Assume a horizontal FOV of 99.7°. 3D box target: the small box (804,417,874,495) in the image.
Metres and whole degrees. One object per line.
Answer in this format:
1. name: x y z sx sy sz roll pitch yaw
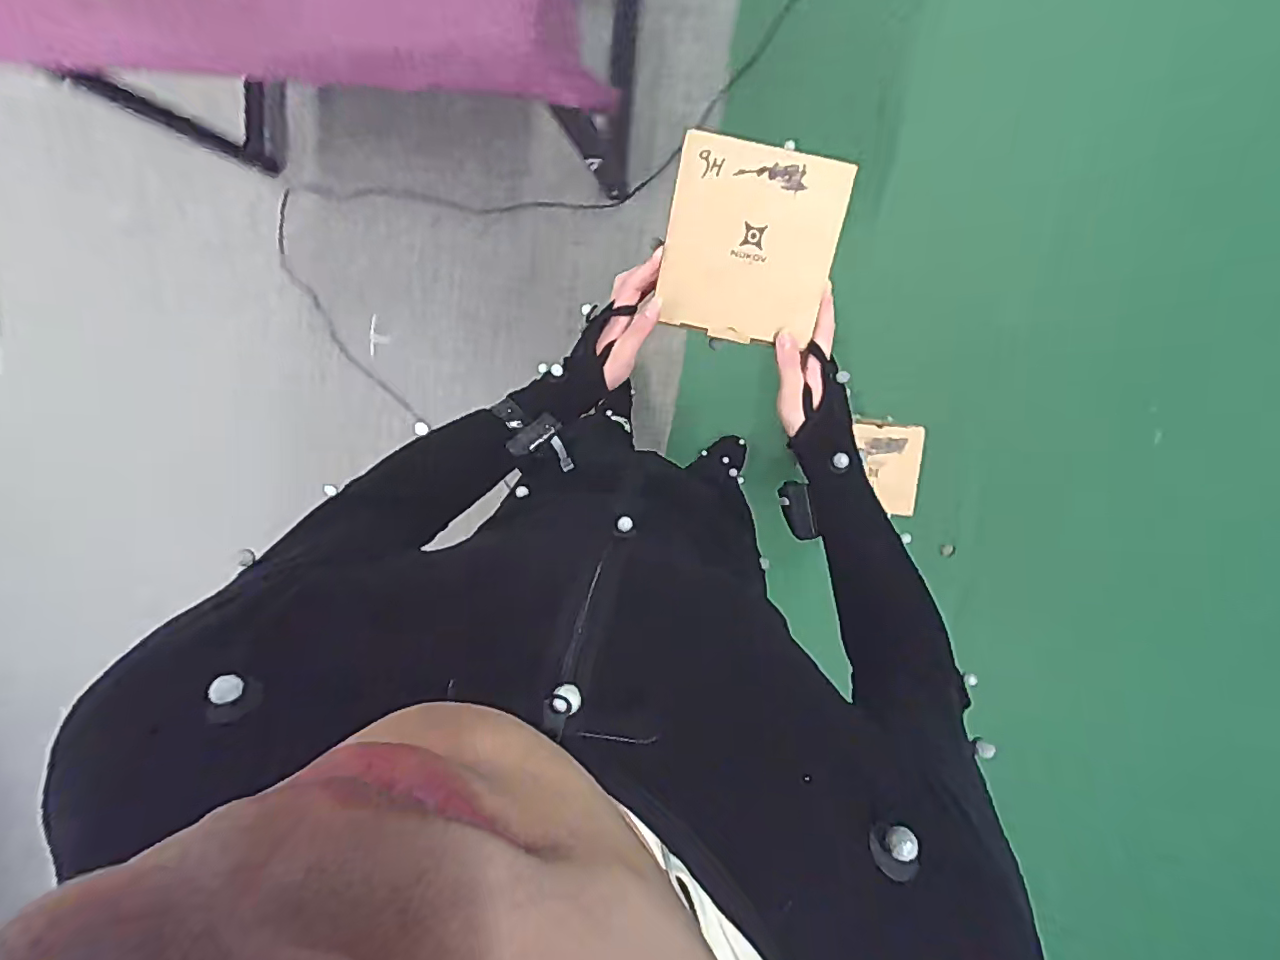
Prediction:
1. small box: 0.493 -0.053 1.295 0.168 0.176 0.179 8 99 9

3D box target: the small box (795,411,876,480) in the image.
1. small box: 0.519 -0.085 1.452 0.168 0.176 0.179 10 100 8

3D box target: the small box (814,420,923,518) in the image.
1. small box: 0.467 -0.031 1.134 0.168 0.176 0.179 6 100 9
